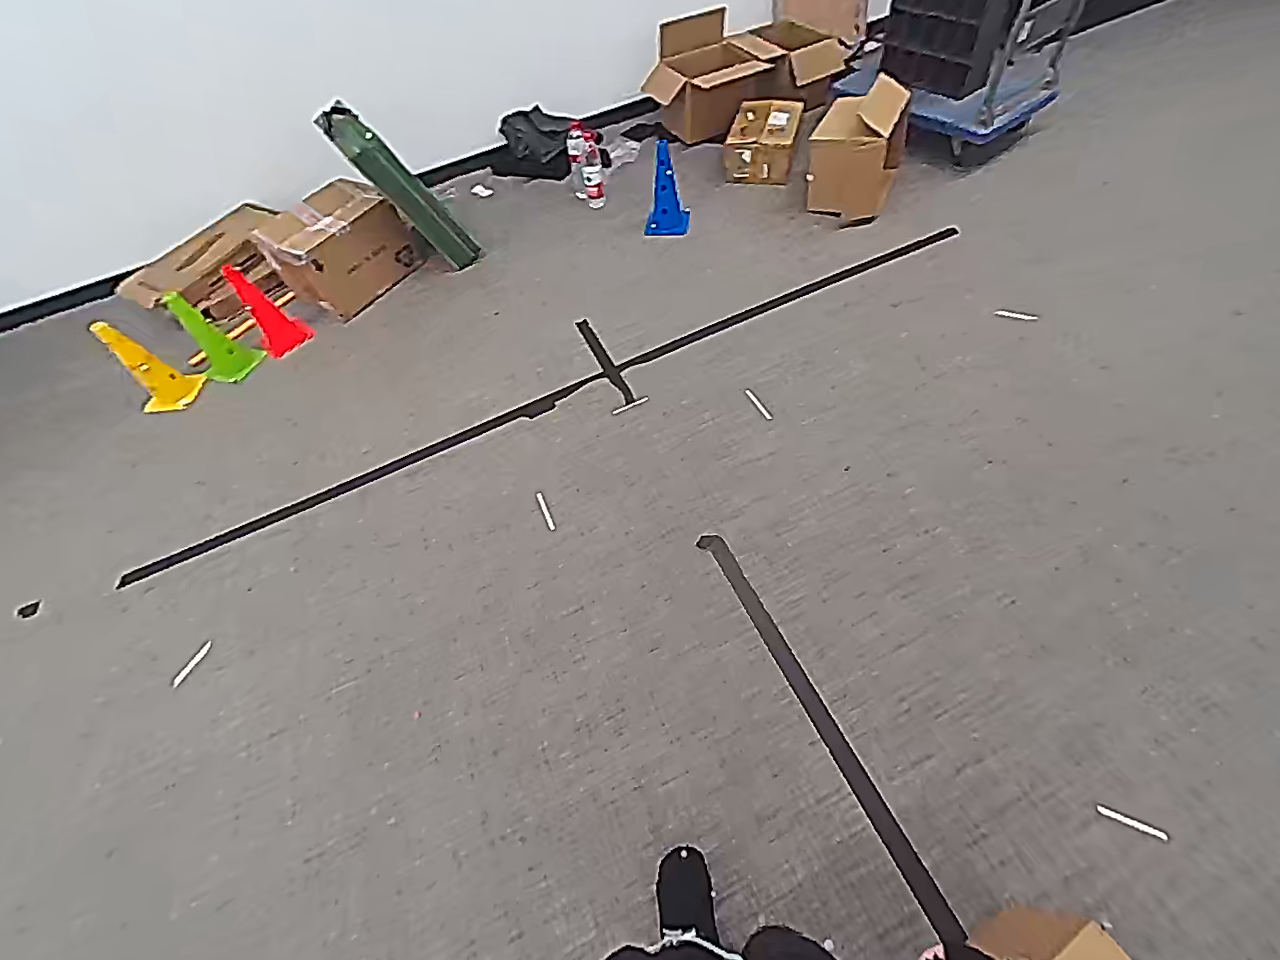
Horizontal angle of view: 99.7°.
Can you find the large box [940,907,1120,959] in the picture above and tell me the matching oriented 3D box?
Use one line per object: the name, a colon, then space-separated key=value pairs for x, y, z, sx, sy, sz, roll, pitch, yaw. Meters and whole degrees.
large box: x=0.598 y=0.944 z=0.814 sx=0.408 sy=0.320 sz=0.320 roll=-29 pitch=58 yaw=-14
